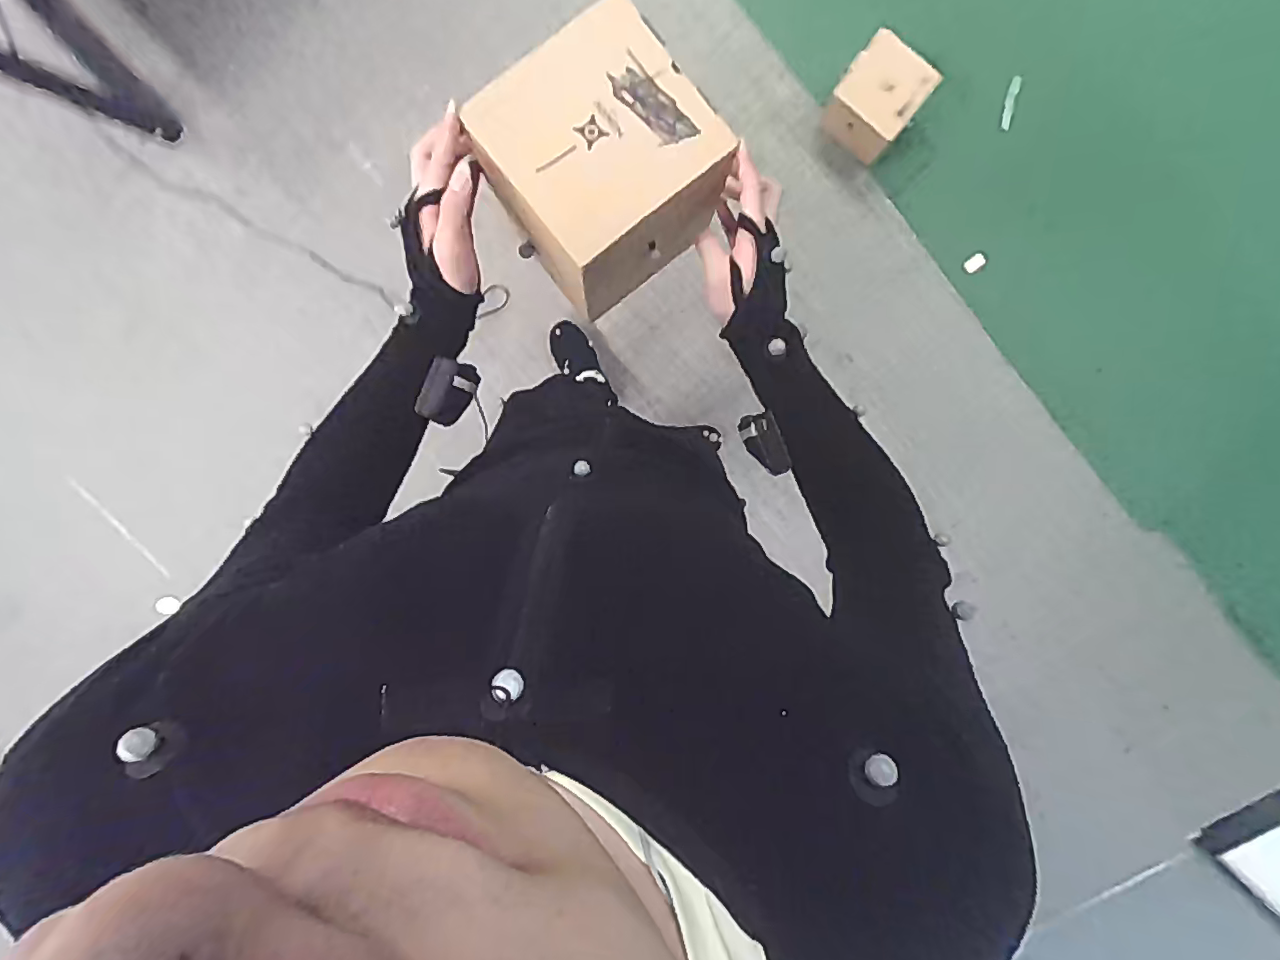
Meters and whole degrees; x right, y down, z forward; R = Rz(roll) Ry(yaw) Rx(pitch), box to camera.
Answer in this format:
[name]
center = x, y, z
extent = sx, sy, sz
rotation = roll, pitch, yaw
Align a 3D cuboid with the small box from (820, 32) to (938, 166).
[small box]
center = 0.562, -0.901, 1.301
extent = 0.179, 0.176, 0.168
rotation = 39, 103, -3
